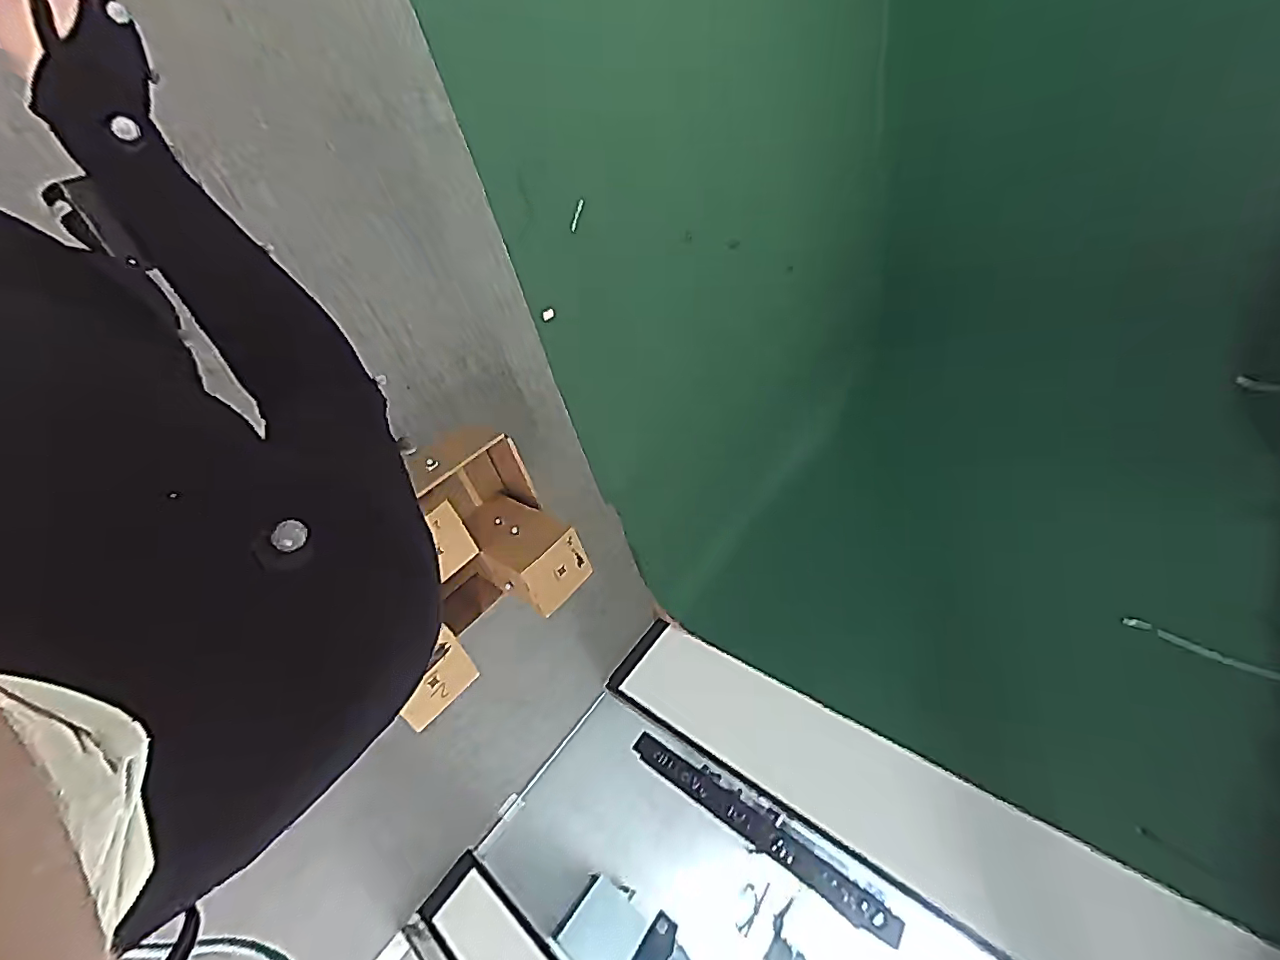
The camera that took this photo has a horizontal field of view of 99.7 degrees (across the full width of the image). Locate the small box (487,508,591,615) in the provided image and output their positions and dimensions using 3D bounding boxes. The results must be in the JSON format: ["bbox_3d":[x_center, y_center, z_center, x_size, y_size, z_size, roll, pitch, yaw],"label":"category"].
[{"bbox_3d":[-0.259,0.198,1.361,0.179,0.176,0.168,-42,133,-30],"label":"small box"}]
